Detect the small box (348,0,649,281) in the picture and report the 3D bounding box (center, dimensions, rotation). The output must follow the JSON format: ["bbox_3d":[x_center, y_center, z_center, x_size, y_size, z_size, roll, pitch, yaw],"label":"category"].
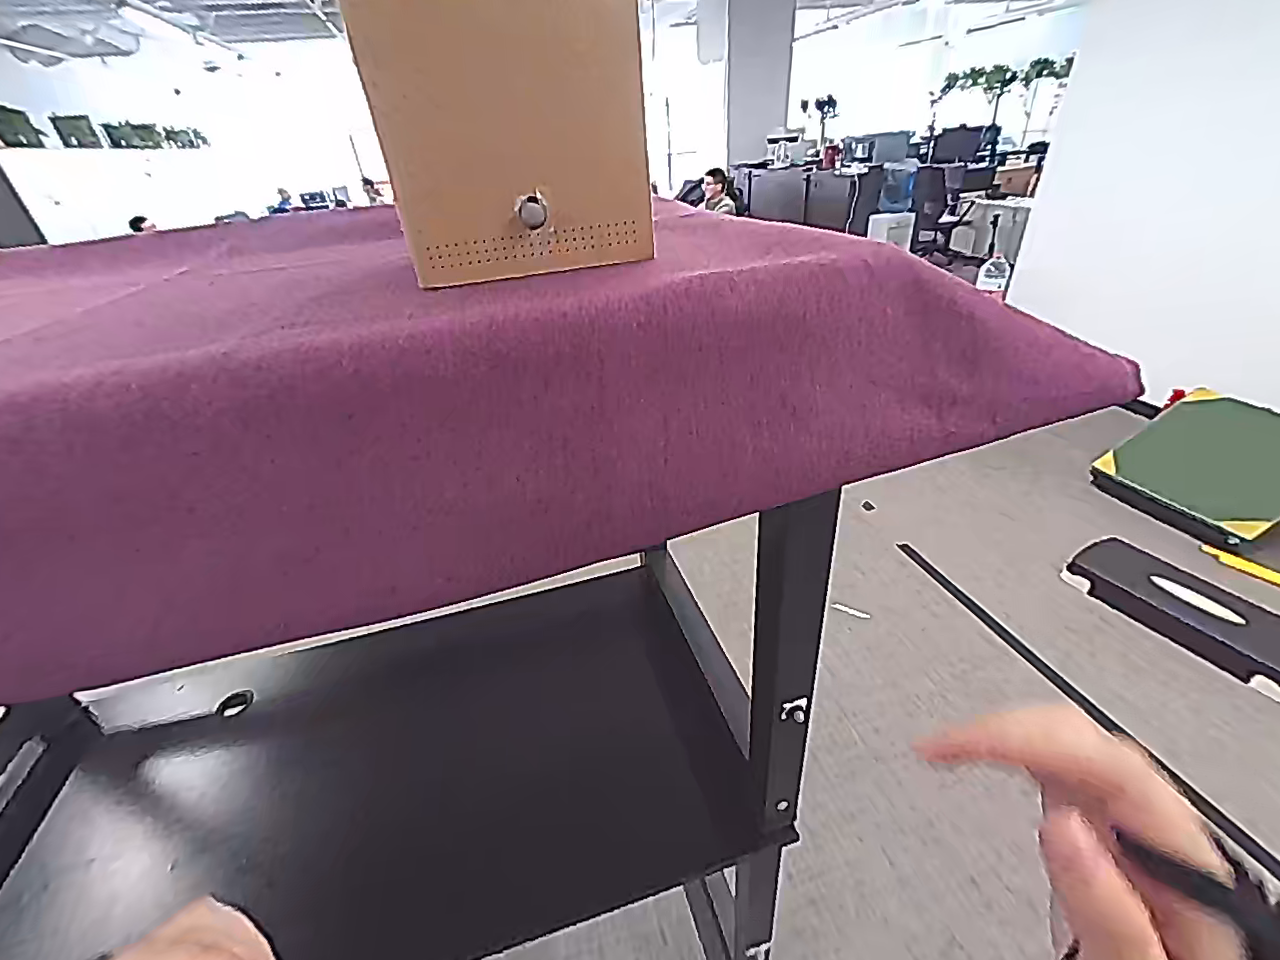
[{"bbox_3d":[-0.093,-0.263,0.418,0.179,0.176,0.168,-11,32,-9],"label":"small box"}]
